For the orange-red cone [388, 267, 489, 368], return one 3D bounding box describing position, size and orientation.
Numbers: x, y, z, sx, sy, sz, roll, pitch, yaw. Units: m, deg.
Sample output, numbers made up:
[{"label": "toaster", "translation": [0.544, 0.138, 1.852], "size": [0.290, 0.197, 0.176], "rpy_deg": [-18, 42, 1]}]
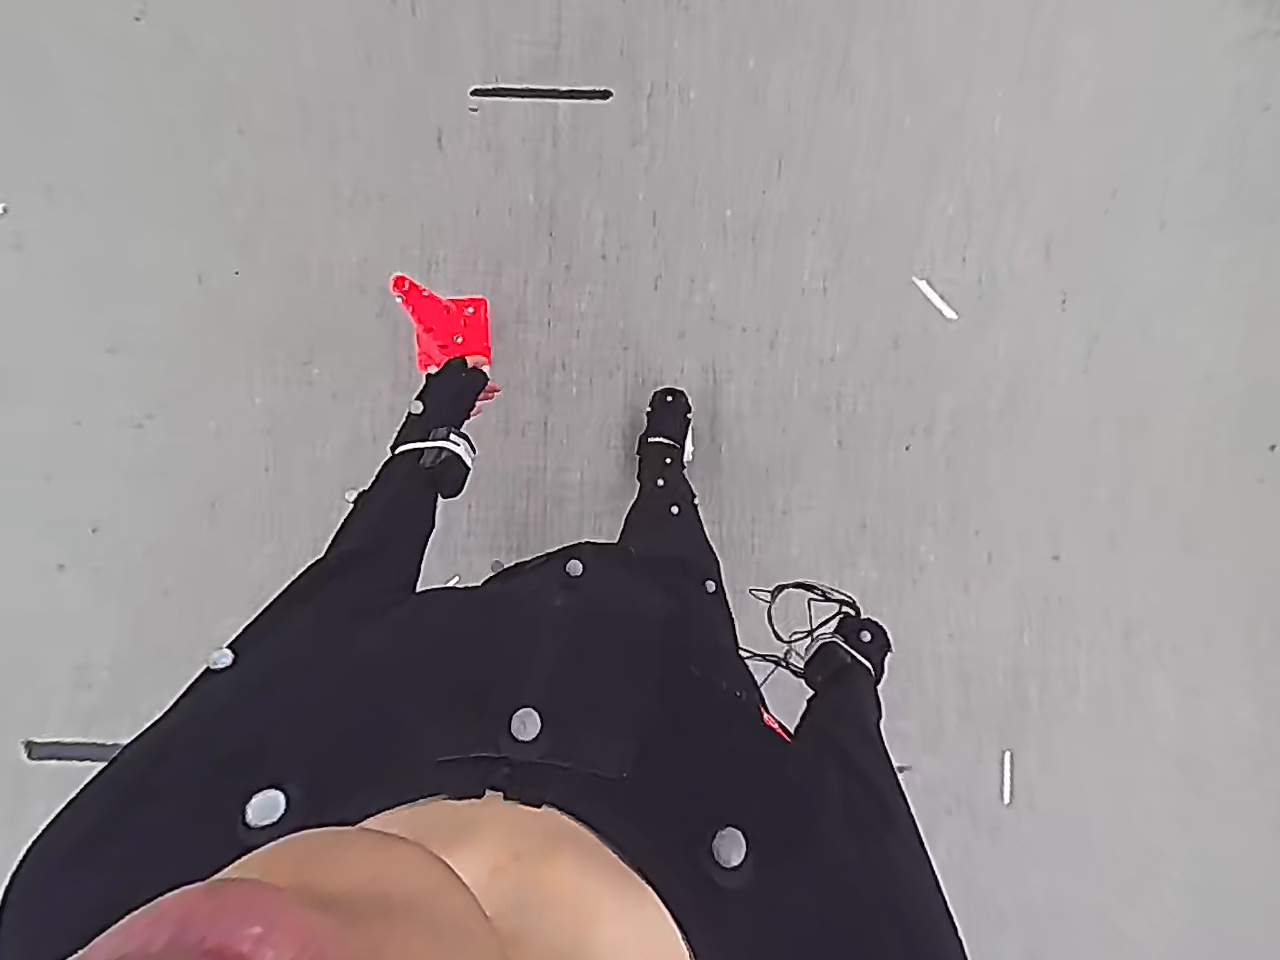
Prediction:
[{"label": "orange-red cone", "translation": [-0.504, -0.410, 1.285], "size": [0.199, 0.360, 0.198], "rpy_deg": [-3, 87, 0]}]
